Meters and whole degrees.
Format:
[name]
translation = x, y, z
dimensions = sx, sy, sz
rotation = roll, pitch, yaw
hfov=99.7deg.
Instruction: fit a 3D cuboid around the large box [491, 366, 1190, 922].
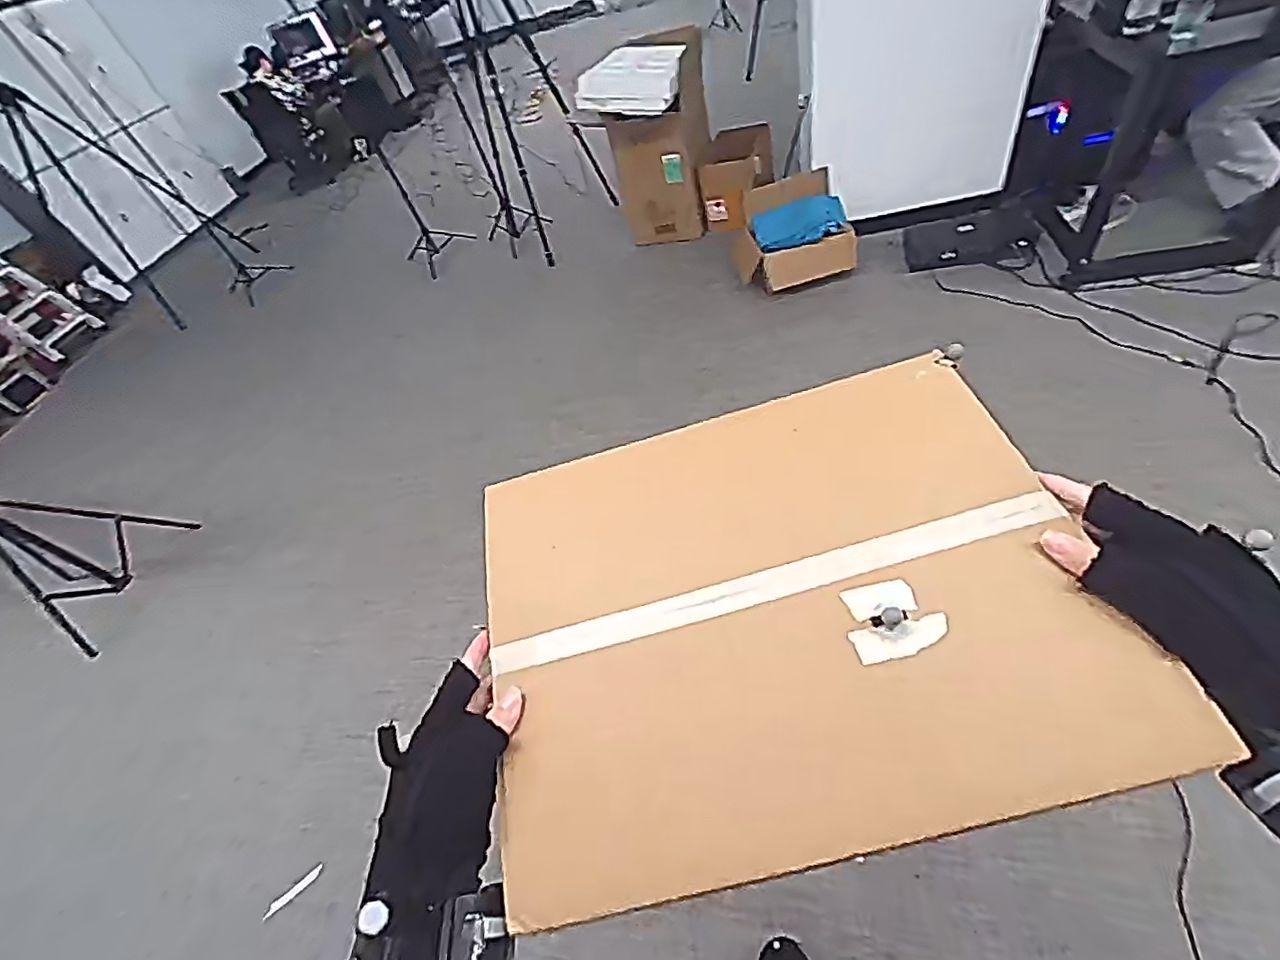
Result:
[large box]
translation = 0.116, 0.159, 0.514
dimensions = 0.408, 0.320, 0.320
rotation = -17, 56, 3
